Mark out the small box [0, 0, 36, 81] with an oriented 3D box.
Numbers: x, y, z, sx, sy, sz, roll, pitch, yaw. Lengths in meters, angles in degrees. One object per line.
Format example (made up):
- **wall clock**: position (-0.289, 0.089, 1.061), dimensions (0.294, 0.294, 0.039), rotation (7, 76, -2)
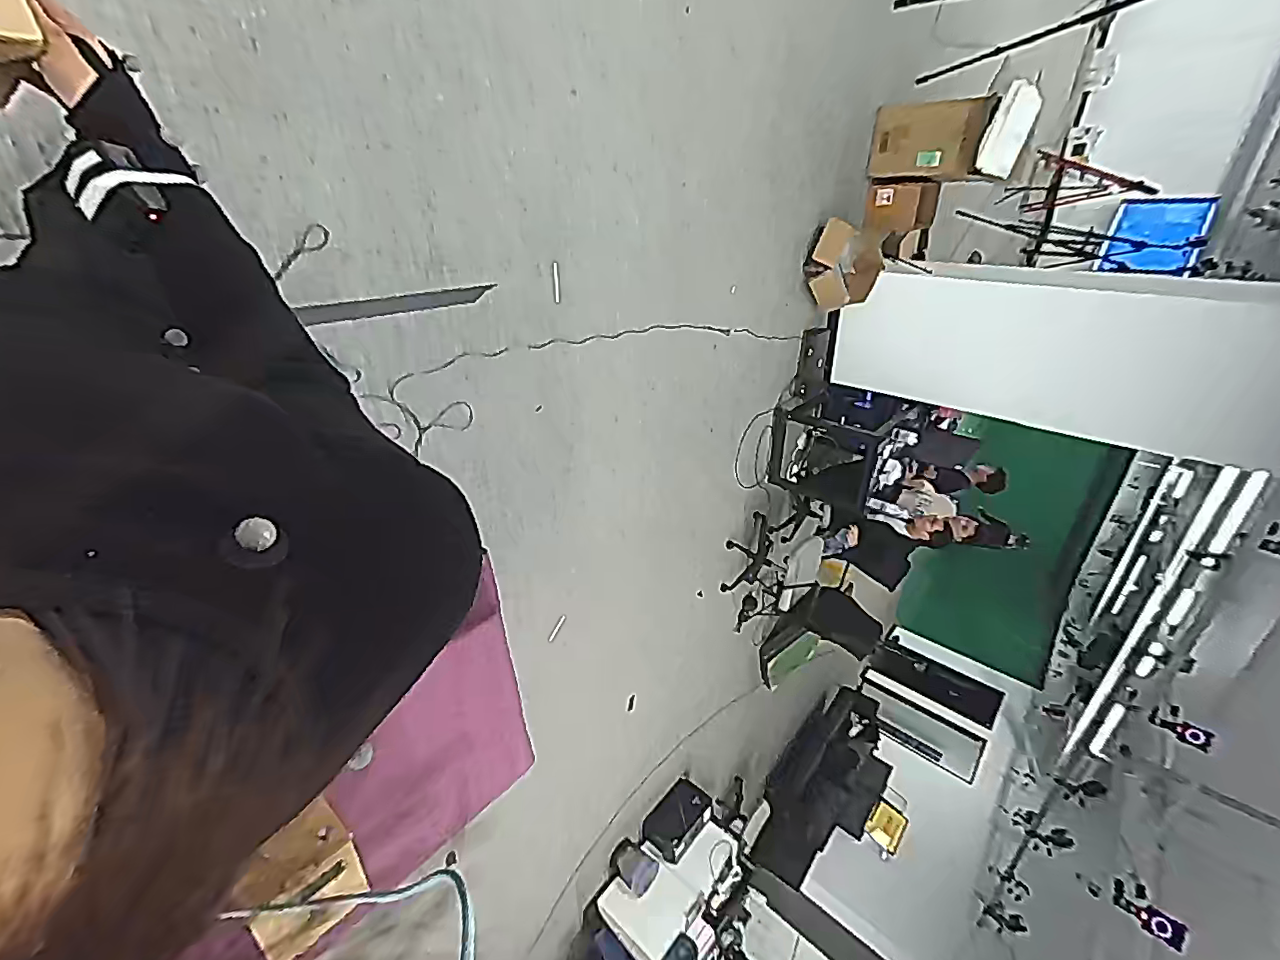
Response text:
- **small box**: position (-0.540, -0.347, 0.324), dimensions (0.179, 0.176, 0.168), rotation (-39, 127, -47)
